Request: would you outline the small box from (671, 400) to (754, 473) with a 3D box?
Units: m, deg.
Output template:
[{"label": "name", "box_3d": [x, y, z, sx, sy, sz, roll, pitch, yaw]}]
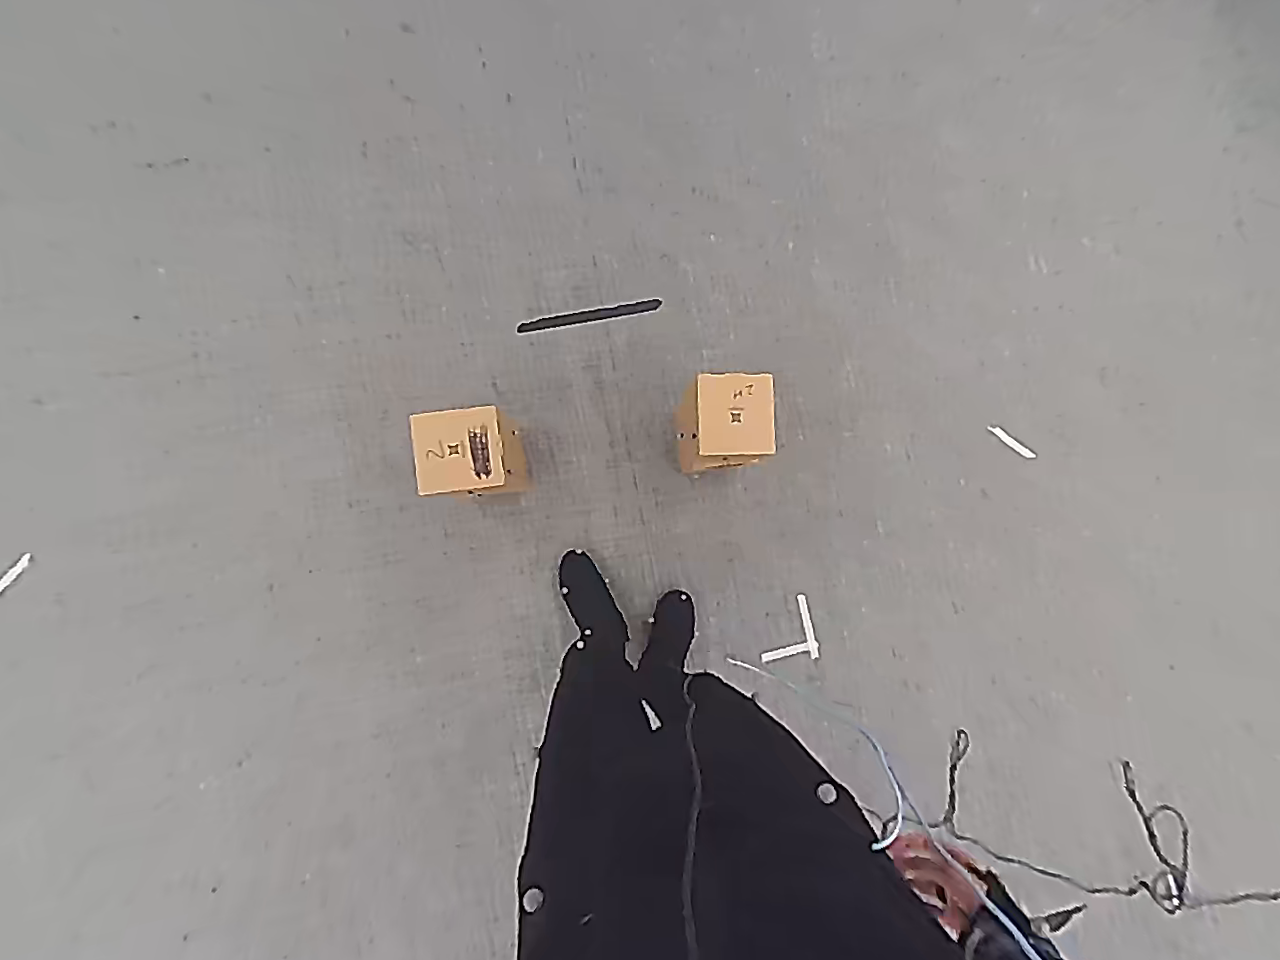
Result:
[{"label": "small box", "box_3d": [0.180, -0.113, 1.378, 0.168, 0.176, 0.179, -7, 87, -6]}]

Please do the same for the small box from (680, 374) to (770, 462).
[{"label": "small box", "box_3d": [0.186, -0.132, 1.214, 0.168, 0.176, 0.179, -1, 87, -6]}]

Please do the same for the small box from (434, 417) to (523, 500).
[{"label": "small box", "box_3d": [-0.388, -0.047, 1.326, 0.168, 0.176, 0.179, -9, 87, -5]}]
